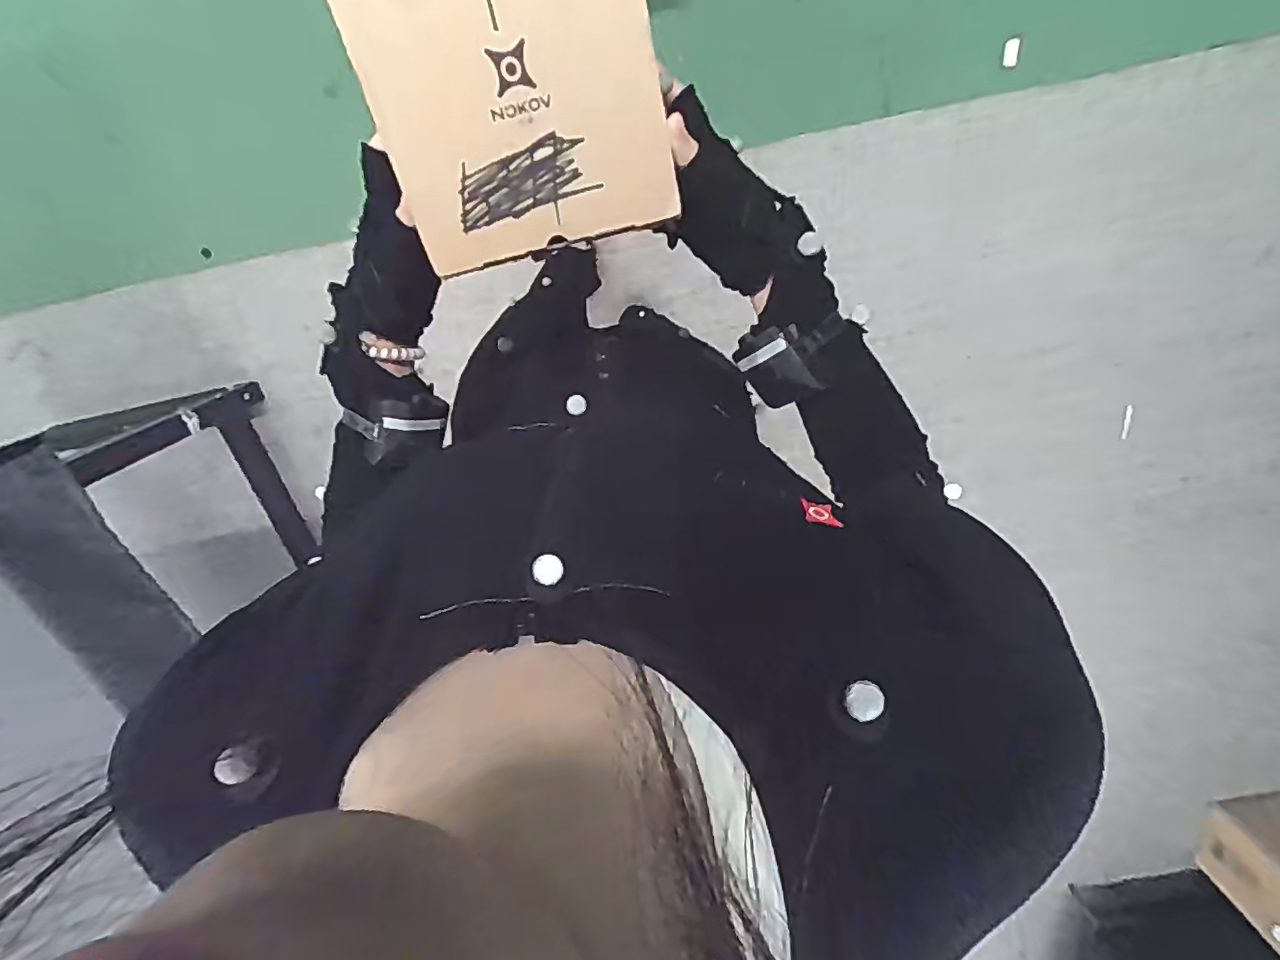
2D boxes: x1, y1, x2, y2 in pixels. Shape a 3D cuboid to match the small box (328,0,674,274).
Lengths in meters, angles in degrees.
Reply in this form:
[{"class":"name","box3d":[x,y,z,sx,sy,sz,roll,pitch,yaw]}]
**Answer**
[{"class":"small box","box3d":[-0.078,-0.263,0.375,0.168,0.176,0.179,-13,119,2]}]
